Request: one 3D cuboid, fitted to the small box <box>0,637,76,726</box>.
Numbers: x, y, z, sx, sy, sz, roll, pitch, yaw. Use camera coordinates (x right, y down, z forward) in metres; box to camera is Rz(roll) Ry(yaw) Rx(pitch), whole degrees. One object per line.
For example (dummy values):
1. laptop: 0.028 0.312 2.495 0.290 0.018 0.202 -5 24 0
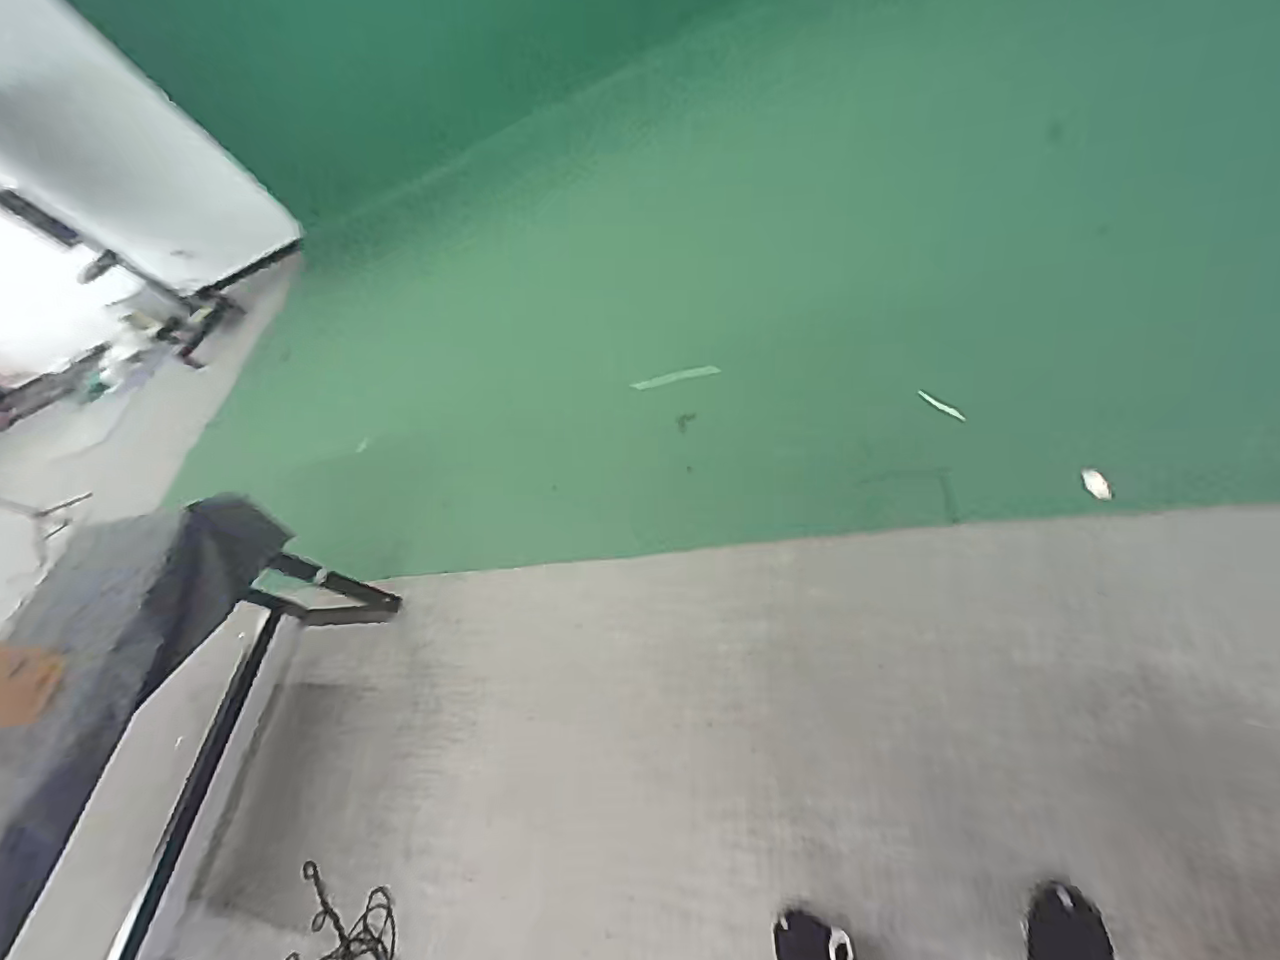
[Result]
1. small box: -1.436 0.446 1.210 0.179 0.176 0.168 -7 56 28
